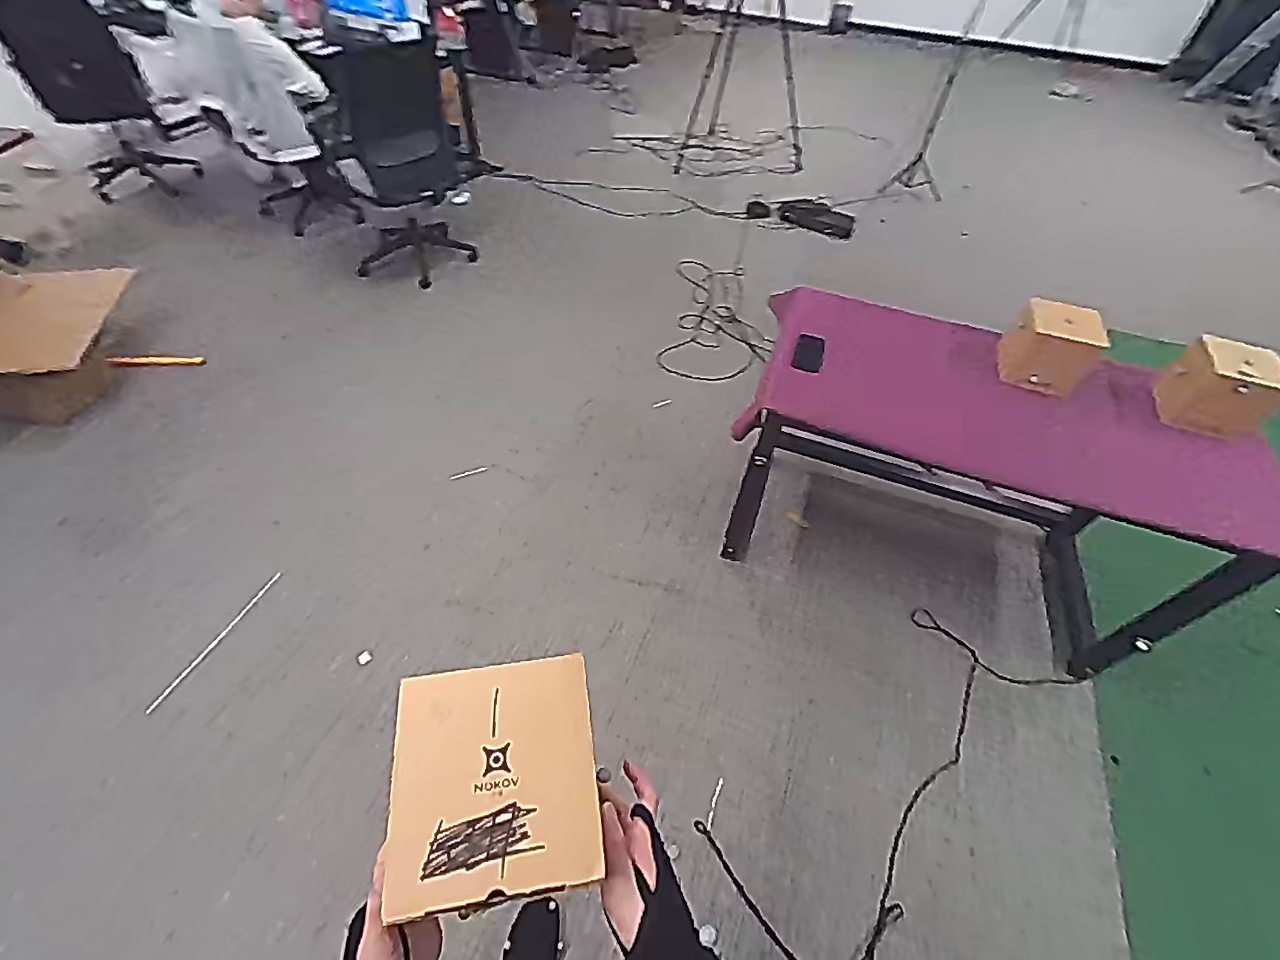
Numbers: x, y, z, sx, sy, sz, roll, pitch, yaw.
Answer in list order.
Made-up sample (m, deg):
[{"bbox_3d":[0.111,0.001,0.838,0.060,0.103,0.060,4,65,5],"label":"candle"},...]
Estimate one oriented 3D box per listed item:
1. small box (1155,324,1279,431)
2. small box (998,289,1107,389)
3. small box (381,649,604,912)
[{"bbox_3d":[1.434,-0.252,1.336,0.168,0.176,0.179,18,51,14],"label":"small box"},{"bbox_3d":[1.071,-0.370,1.420,0.168,0.176,0.179,17,52,13],"label":"small box"},{"bbox_3d":[-0.125,0.279,0.515,0.168,0.176,0.179,-6,57,-7],"label":"small box"}]
